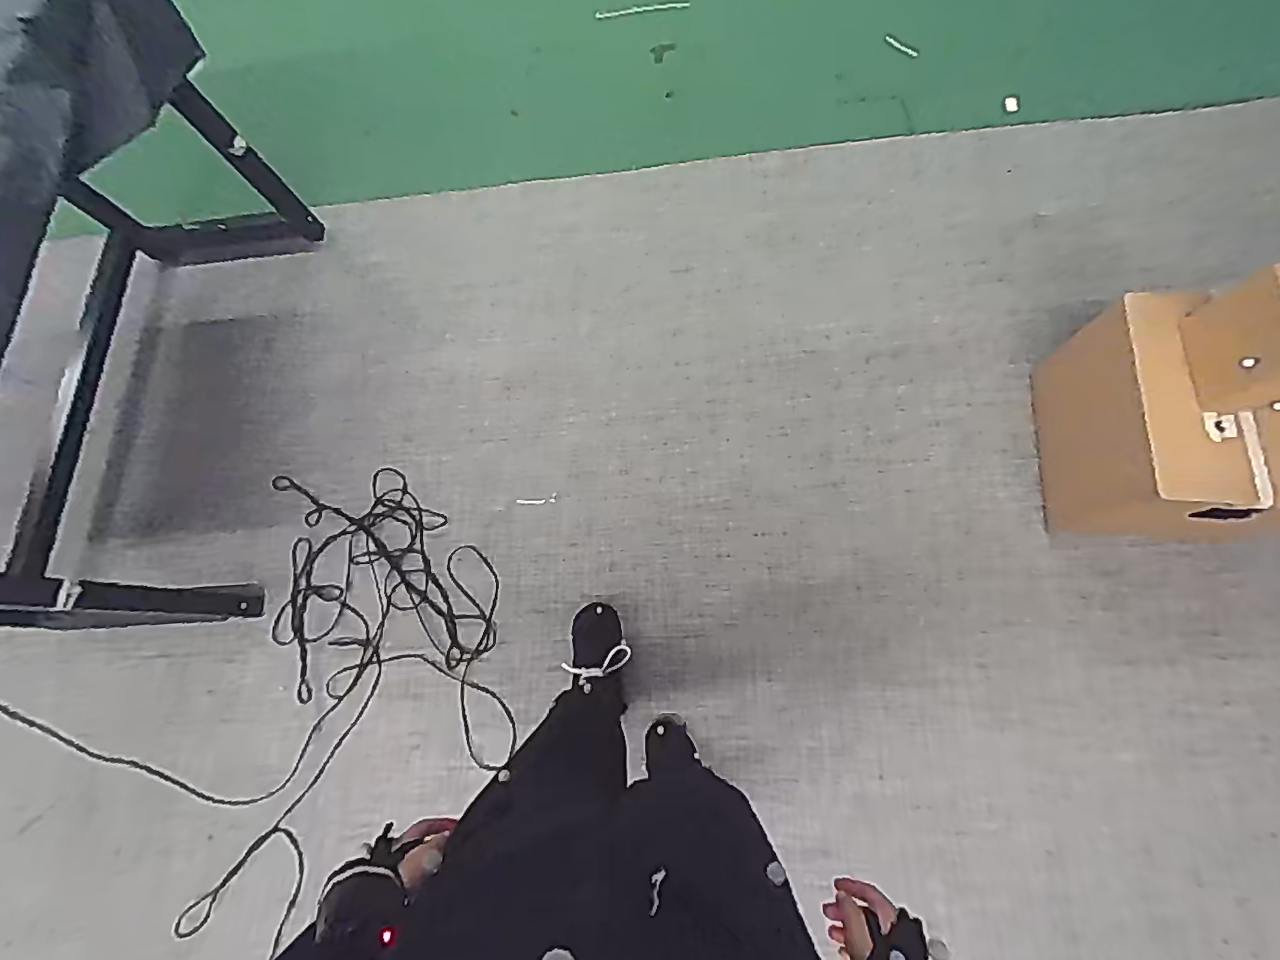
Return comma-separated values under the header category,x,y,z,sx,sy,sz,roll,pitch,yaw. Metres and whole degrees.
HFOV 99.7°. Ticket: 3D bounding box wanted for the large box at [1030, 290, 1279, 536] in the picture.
category,x,y,z,sx,sy,sz,roll,pitch,yaw
large box,1.049,-0.116,1.077,0.320,0.320,0.408,2,75,9
